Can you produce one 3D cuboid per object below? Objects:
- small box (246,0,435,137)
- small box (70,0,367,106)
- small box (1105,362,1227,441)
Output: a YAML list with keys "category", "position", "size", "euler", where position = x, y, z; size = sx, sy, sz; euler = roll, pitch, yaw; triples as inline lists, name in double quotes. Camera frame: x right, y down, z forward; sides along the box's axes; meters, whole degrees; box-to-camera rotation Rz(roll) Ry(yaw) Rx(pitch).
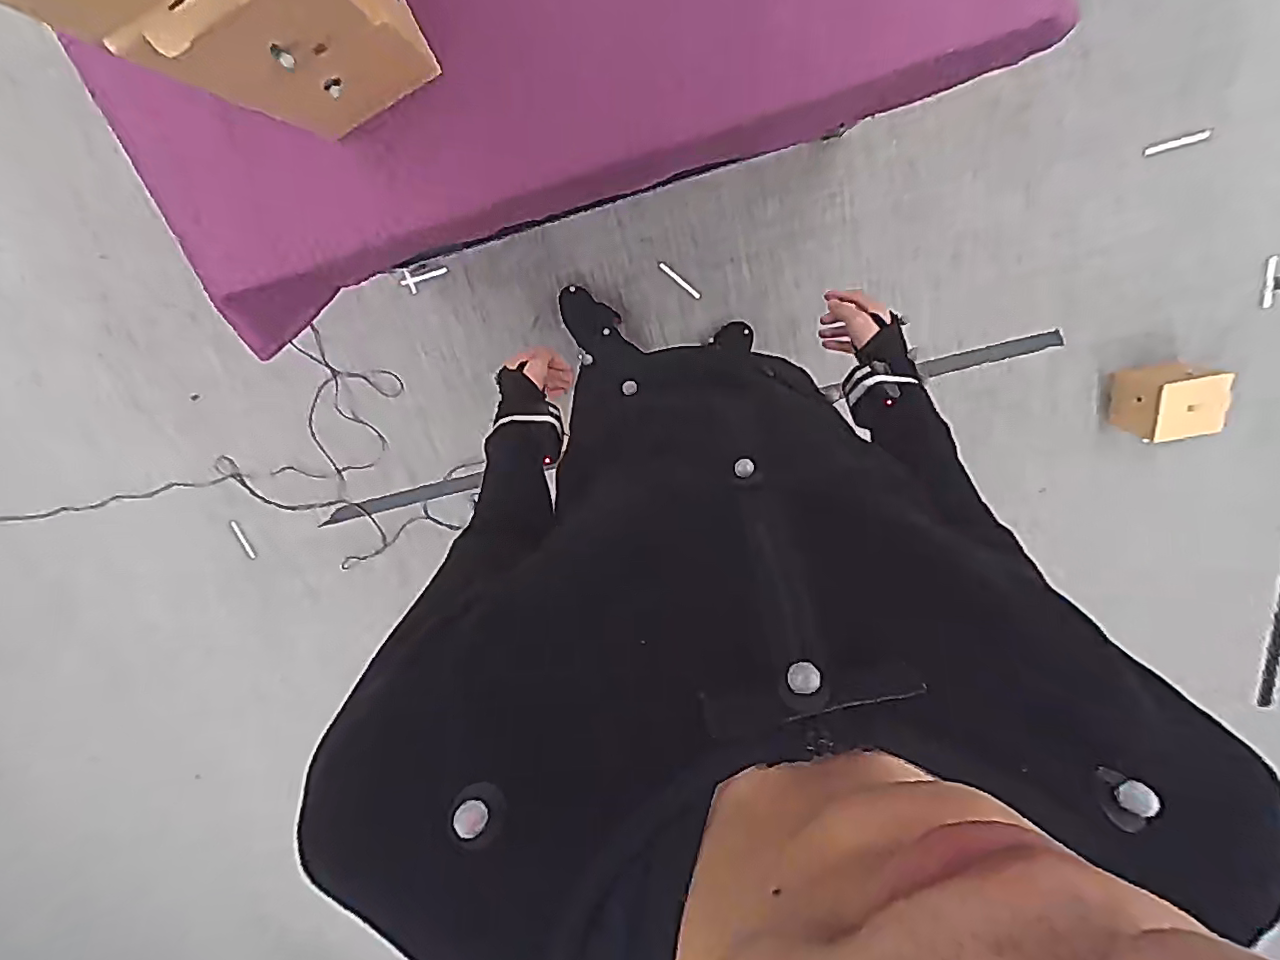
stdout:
- category: "small box"
  position: [-0.370, -0.525, 0.612]
  size: [0.179, 0.176, 0.168]
  euler: [-25, 110, 9]
- category: "small box"
  position: [-0.381, -0.466, 0.458]
  size: [0.168, 0.176, 0.179]
  euler: [-26, 110, 10]
- category: "small box"
  position: [1.457, -0.223, 1.512]
  size: [0.179, 0.176, 0.168]
  euler: [-11, 112, 4]
